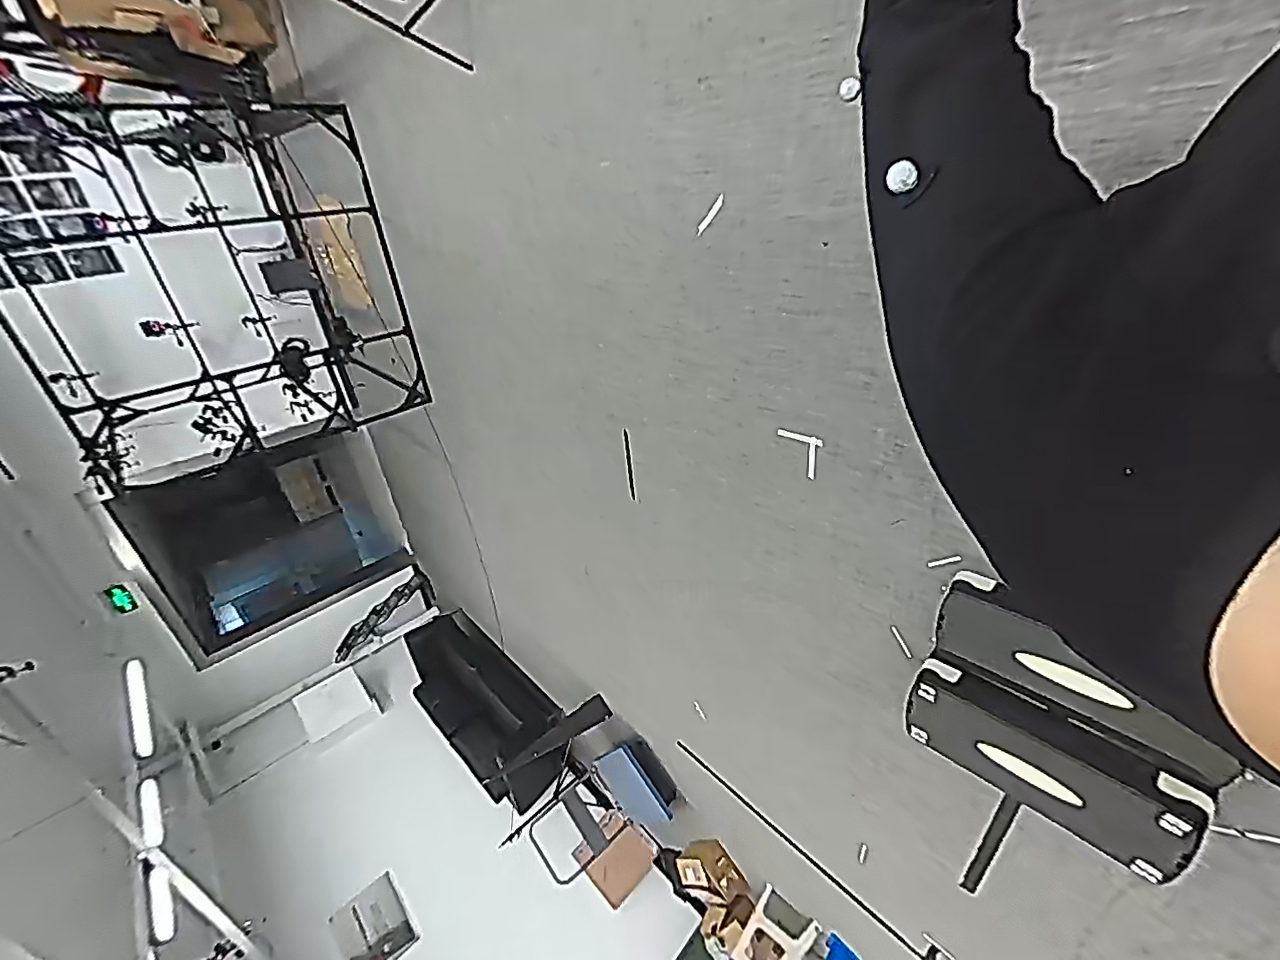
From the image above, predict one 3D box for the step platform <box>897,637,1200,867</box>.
[{"bbox_3d":[1.120,0.755,1.573,0.684,0.204,0.286,24,131,44],"label":"step platform"}]
